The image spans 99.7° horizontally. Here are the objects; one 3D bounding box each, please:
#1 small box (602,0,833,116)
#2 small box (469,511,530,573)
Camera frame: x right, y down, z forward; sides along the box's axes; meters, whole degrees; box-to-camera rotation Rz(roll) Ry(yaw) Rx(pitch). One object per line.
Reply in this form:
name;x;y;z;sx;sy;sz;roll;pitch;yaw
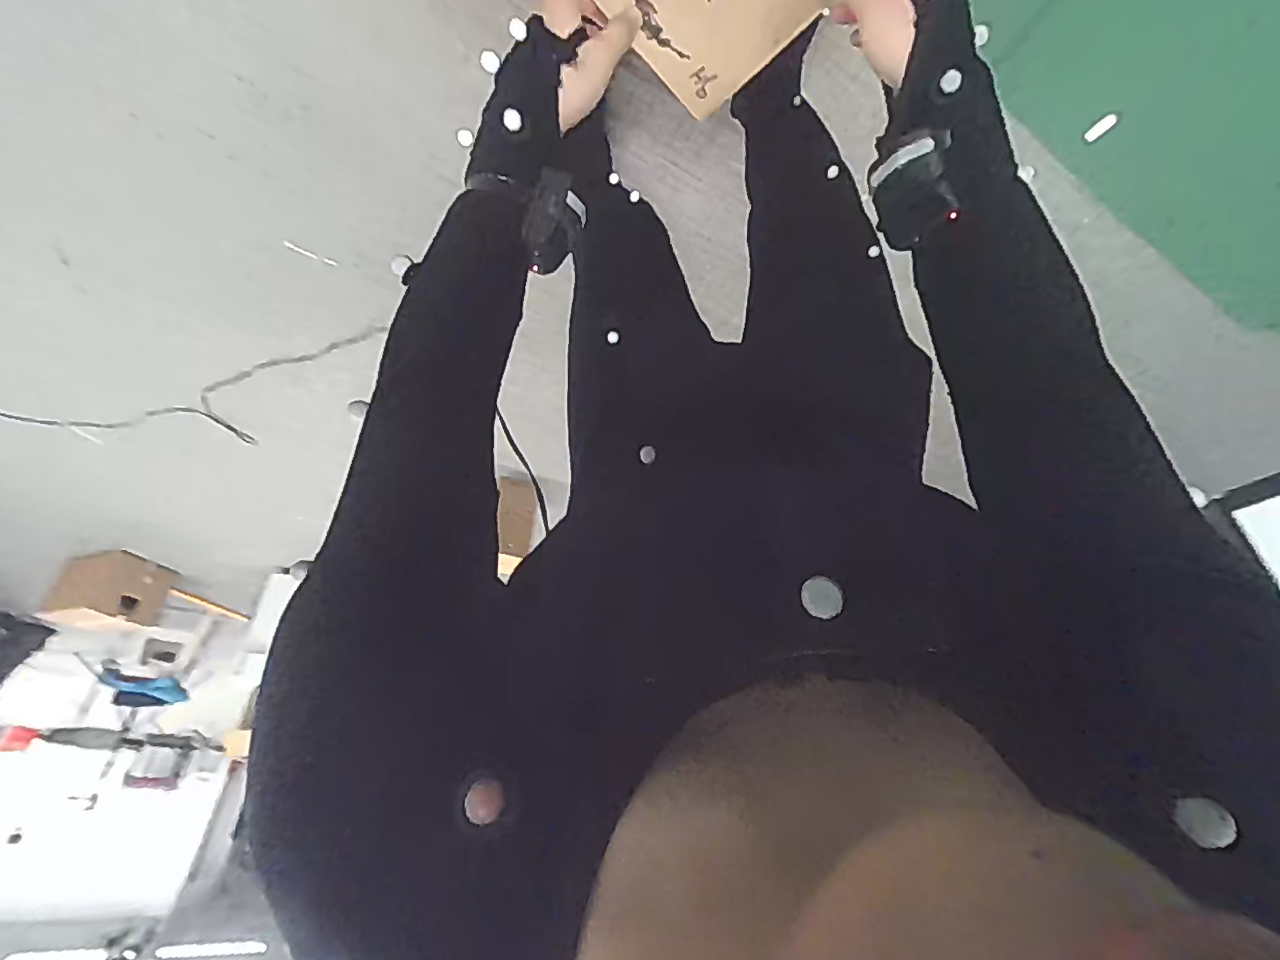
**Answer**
small box;0.065;-0.479;0.459;0.179;0.176;0.168;-23;148;39
small box;-0.529;0.234;2.054;0.179;0.176;0.168;17;143;-21
